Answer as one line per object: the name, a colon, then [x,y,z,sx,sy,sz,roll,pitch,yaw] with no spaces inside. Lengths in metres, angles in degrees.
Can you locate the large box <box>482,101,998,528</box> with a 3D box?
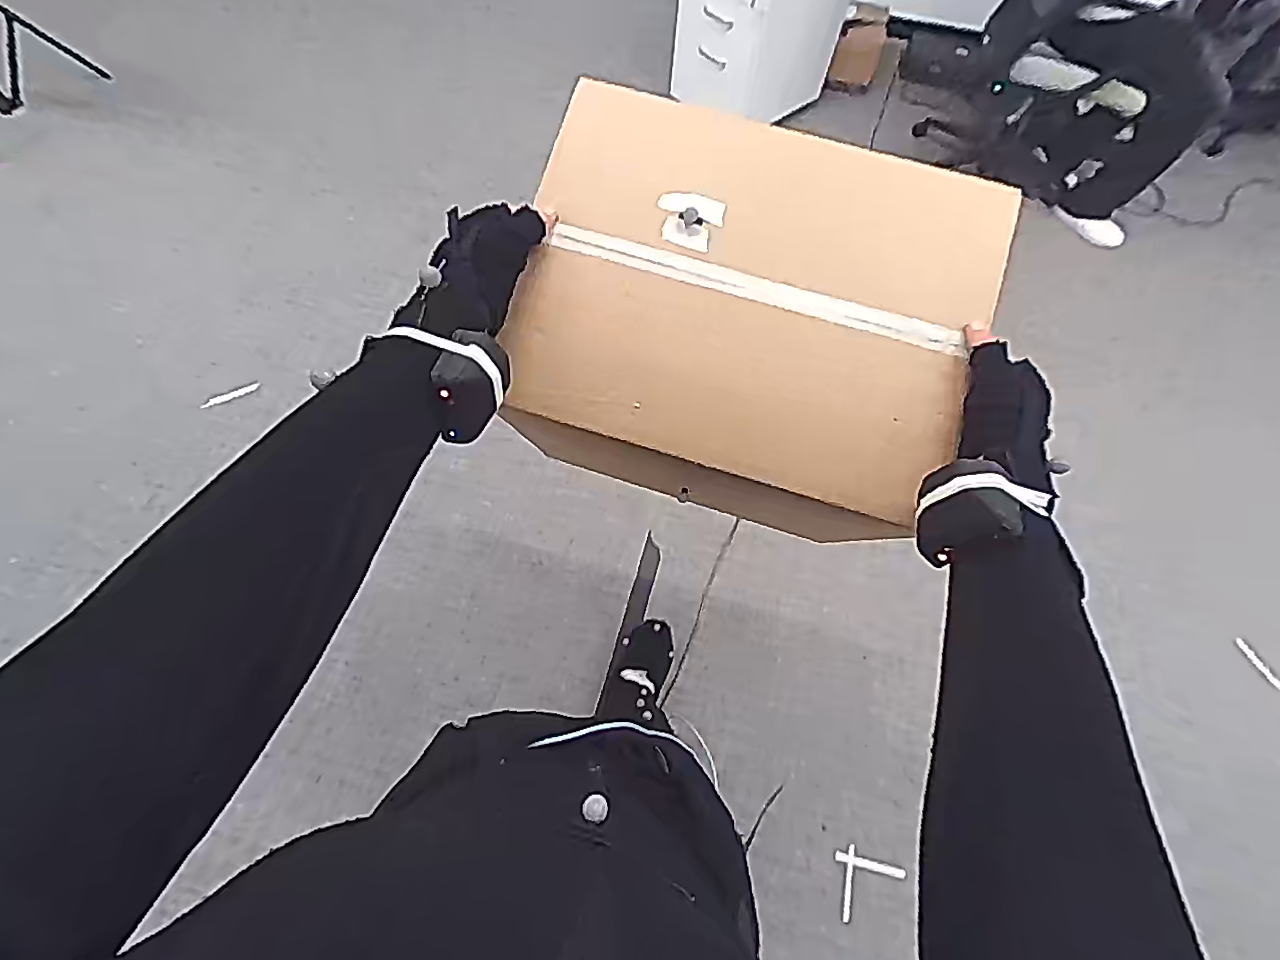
large box: [0.099,-0.147,0.631,0.408,0.320,0.320,17,83,5]
